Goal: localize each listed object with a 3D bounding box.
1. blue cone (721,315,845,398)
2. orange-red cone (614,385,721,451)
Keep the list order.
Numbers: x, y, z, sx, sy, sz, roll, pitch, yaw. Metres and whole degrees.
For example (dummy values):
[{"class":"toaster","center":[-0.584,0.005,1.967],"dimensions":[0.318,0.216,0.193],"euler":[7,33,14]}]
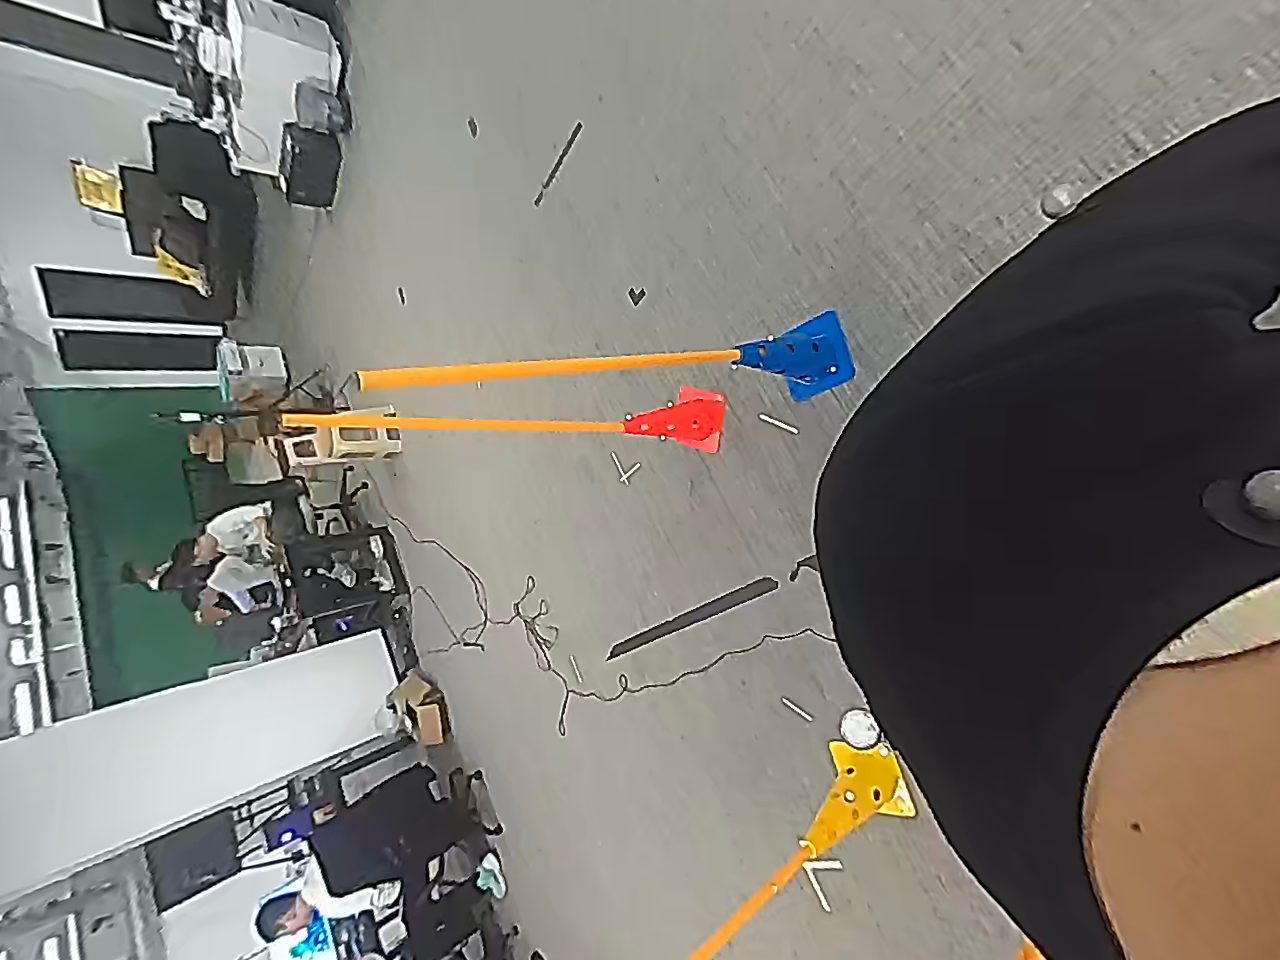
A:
[{"class":"blue cone","center":[0.346,-0.318,1.387],"dimensions":[0.192,0.380,0.193],"euler":[-19,84,48]},{"class":"orange-red cone","center":[0.063,-0.184,1.700],"dimensions":[0.199,0.360,0.198],"euler":[23,115,41]}]
